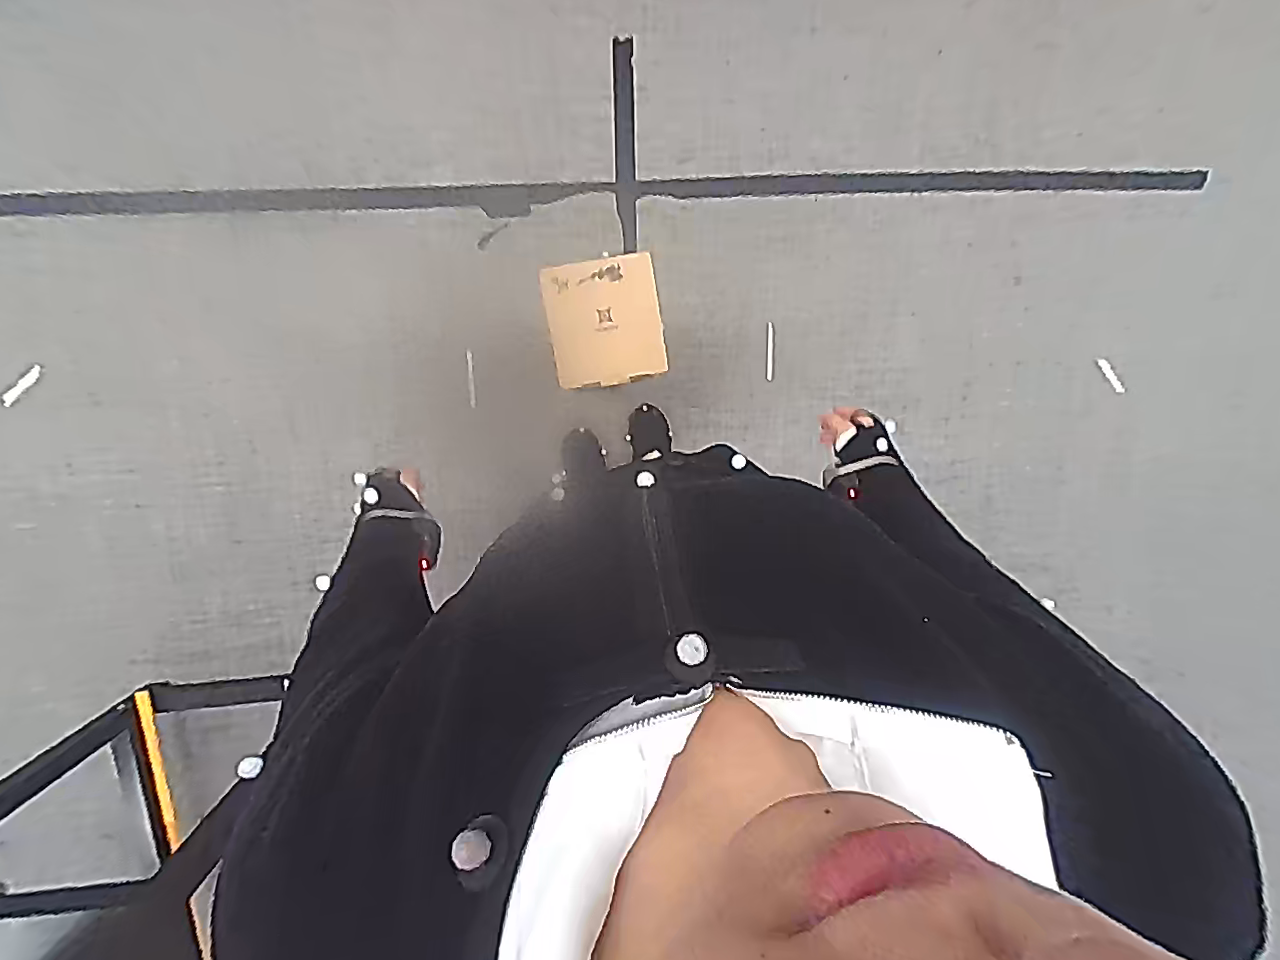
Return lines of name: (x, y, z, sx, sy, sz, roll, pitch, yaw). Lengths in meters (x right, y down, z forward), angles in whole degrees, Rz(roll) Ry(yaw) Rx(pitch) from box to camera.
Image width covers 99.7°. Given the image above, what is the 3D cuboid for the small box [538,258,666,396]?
small box: (-0.057, -0.238, 0.866, 0.168, 0.176, 0.179, -10, 102, -2)
